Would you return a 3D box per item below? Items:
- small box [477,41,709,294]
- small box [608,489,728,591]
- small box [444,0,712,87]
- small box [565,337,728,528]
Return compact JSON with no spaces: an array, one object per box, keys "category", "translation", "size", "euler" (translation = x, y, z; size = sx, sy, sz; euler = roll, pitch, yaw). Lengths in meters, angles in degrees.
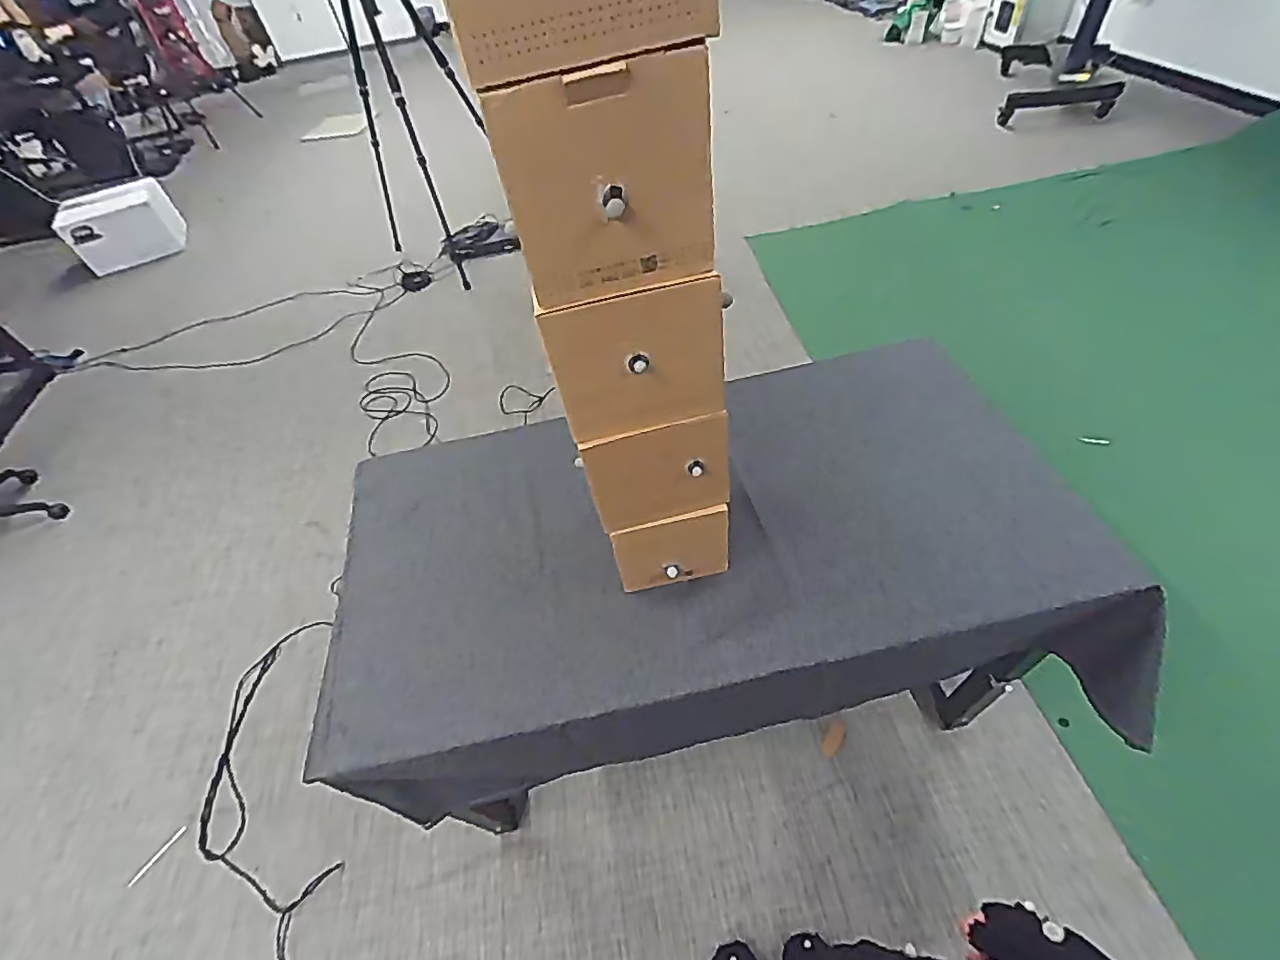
[{"category":"small box","translation":[-0.038,-0.287,0.492],"size":[0.168,0.176,0.179],"euler":[-13,48,-1]},{"category":"small box","translation":[0.035,0.047,0.843],"size":[0.168,0.176,0.179],"euler":[-12,49,0]},{"category":"small box","translation":[-0.057,-0.394,0.367],"size":[0.179,0.176,0.168],"euler":[-13,48,-1]},{"category":"small box","translation":[0.010,-0.060,0.722],"size":[0.179,0.176,0.168],"euler":[-14,48,-2]}]
